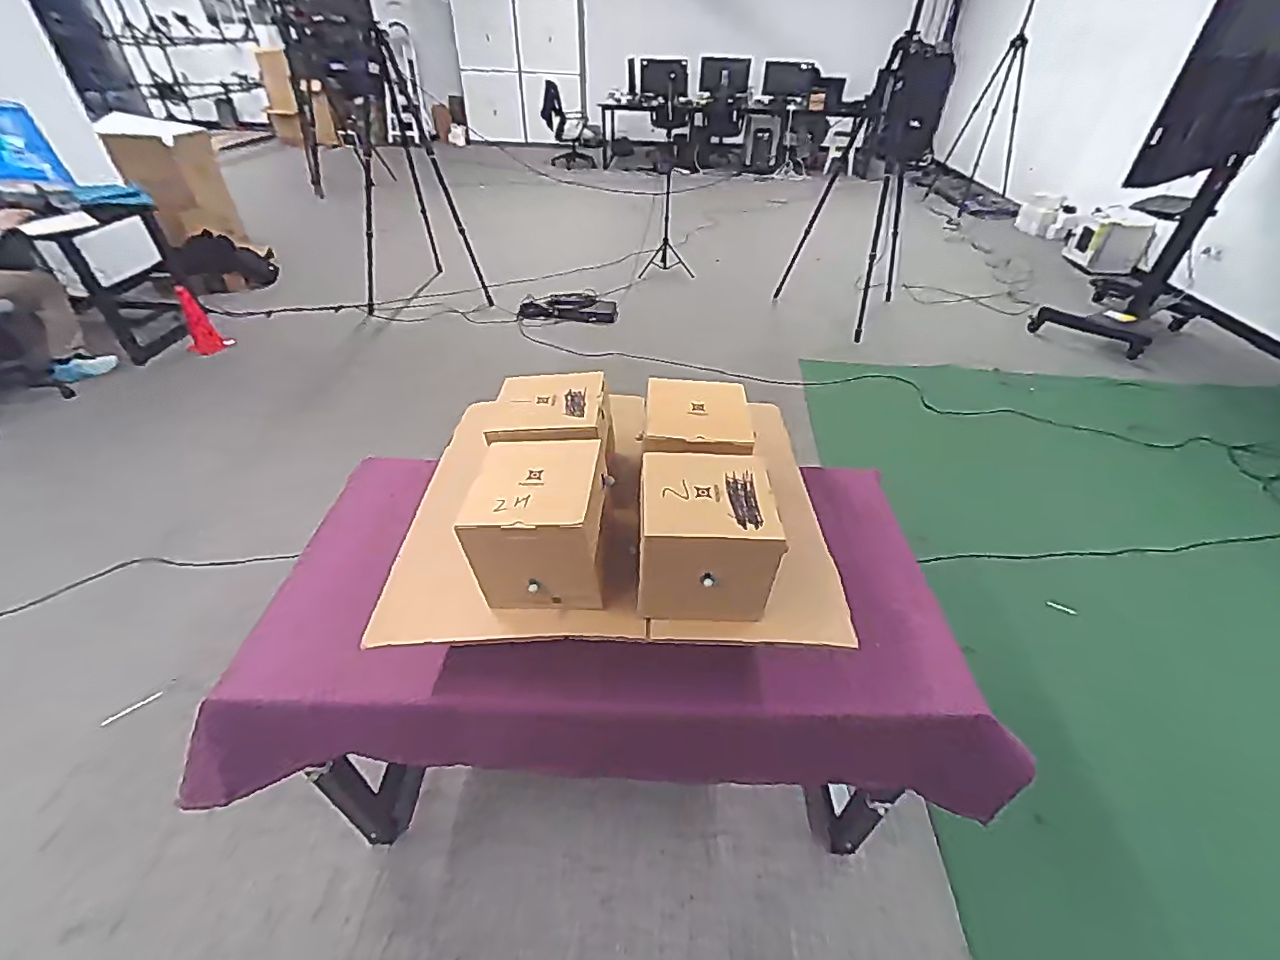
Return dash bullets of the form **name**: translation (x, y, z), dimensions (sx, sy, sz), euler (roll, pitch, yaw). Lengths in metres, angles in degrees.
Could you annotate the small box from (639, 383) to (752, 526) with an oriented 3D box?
- **small box**: translation (0.086, -0.045, 0.923), dimensions (0.168, 0.176, 0.179), euler (4, 41, 0)
